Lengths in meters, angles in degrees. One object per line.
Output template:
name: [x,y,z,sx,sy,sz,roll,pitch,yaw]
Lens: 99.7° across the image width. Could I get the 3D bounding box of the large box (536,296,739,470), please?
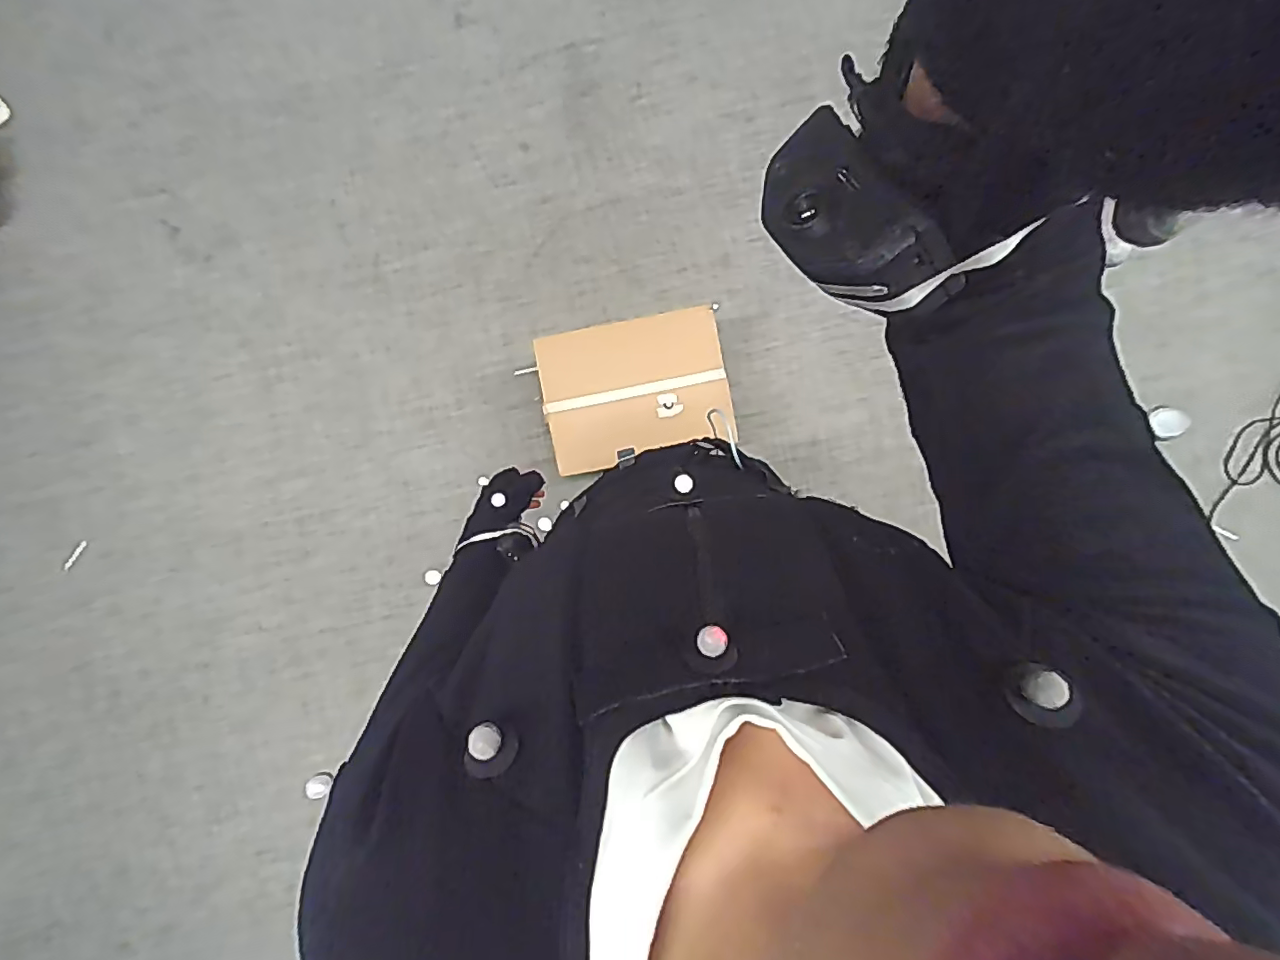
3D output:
large box: [-0.005,-0.215,1.329,0.408,0.320,0.320,-11,92,1]
